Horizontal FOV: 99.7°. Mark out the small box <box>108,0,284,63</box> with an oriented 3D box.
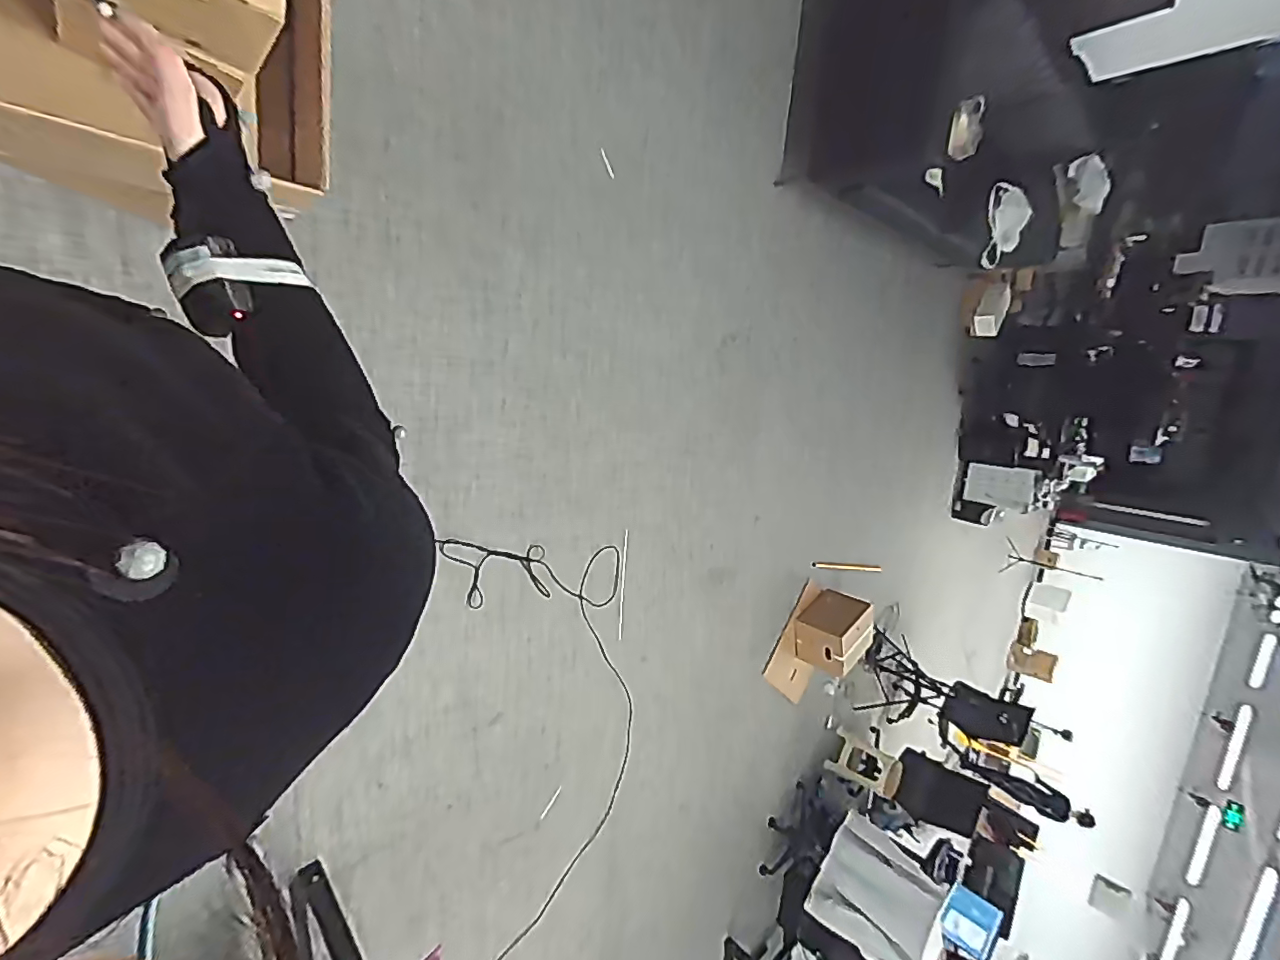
[{"bbox_3d":[-0.462,-0.569,0.539,0.168,0.176,0.179,0,101,-44],"label":"small box"}]
